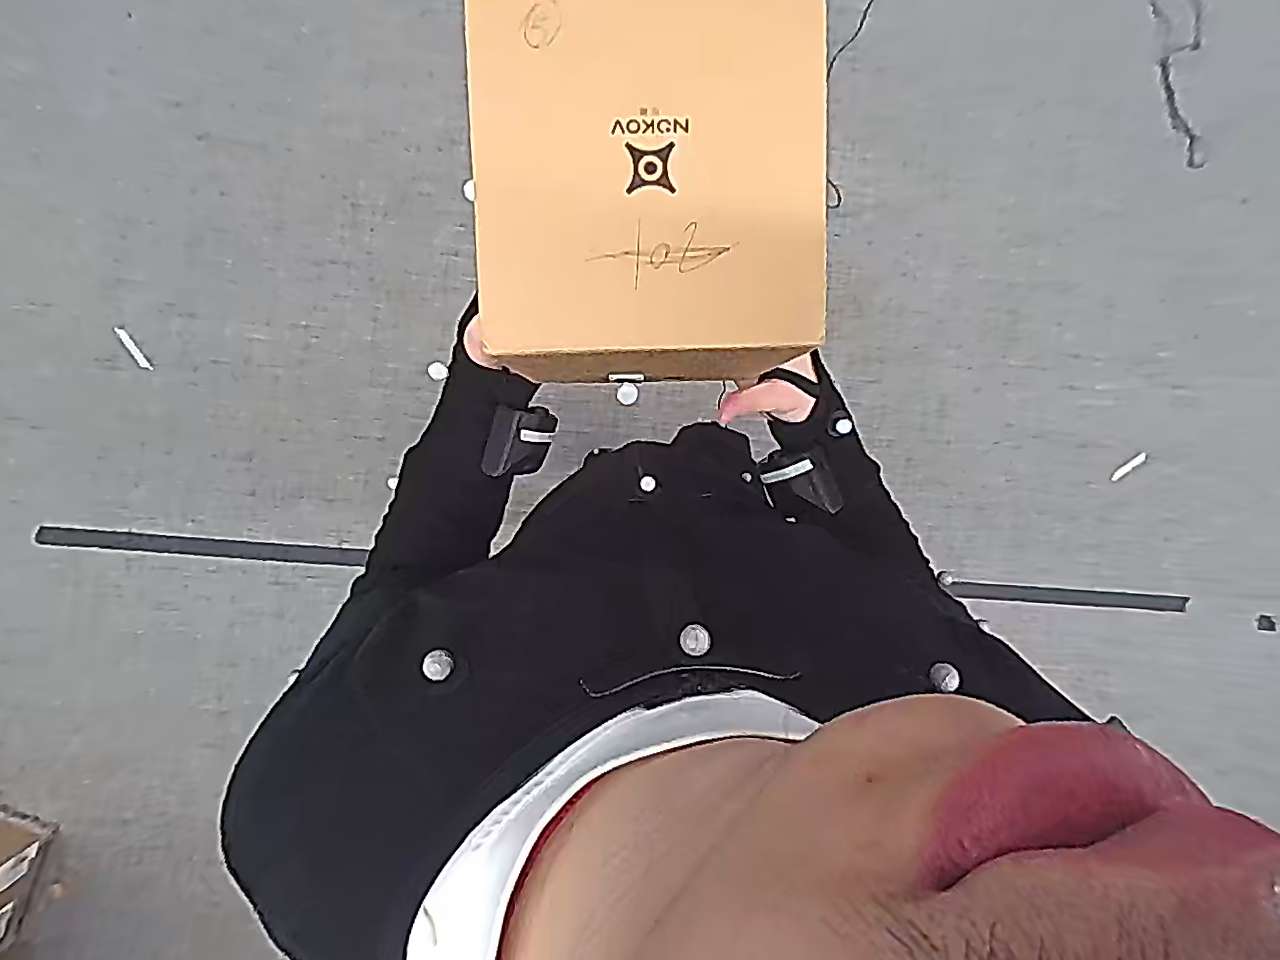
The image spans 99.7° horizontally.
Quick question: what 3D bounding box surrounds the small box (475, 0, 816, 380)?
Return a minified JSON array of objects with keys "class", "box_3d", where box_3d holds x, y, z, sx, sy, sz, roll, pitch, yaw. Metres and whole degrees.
[{"class":"small box","box_3d":[0.002,-0.161,0.342,0.168,0.176,0.179,-2,96,-1]}]
